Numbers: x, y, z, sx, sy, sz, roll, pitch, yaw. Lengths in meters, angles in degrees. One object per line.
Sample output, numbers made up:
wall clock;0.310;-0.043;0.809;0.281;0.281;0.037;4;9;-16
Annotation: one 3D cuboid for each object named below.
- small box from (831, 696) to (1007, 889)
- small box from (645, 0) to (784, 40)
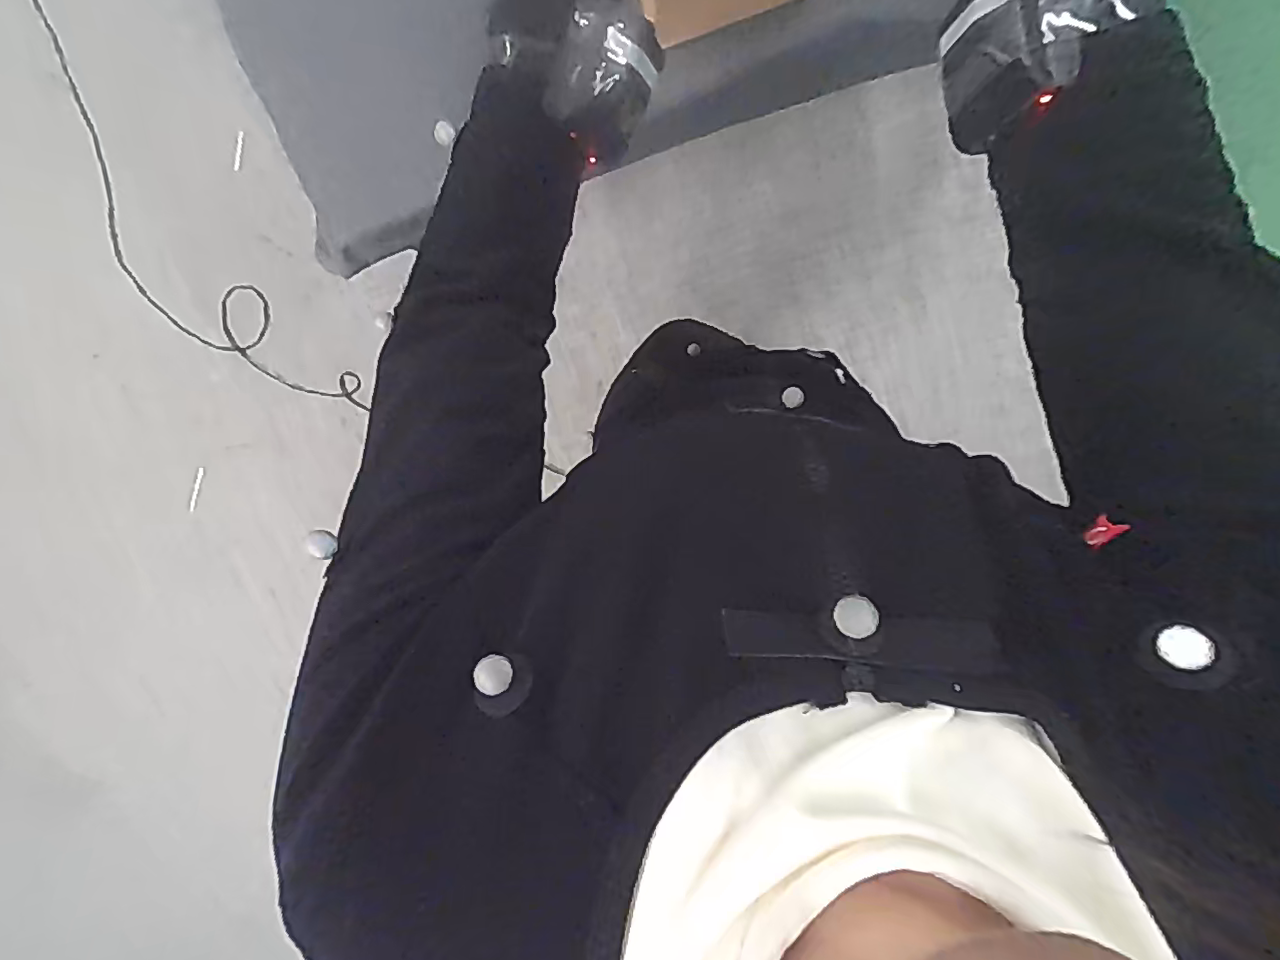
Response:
small box;0.423;0.478;0.845;0.168;0.176;0.179;-22;101;8
small box;0.071;-0.535;0.467;0.179;0.176;0.168;-15;101;8
